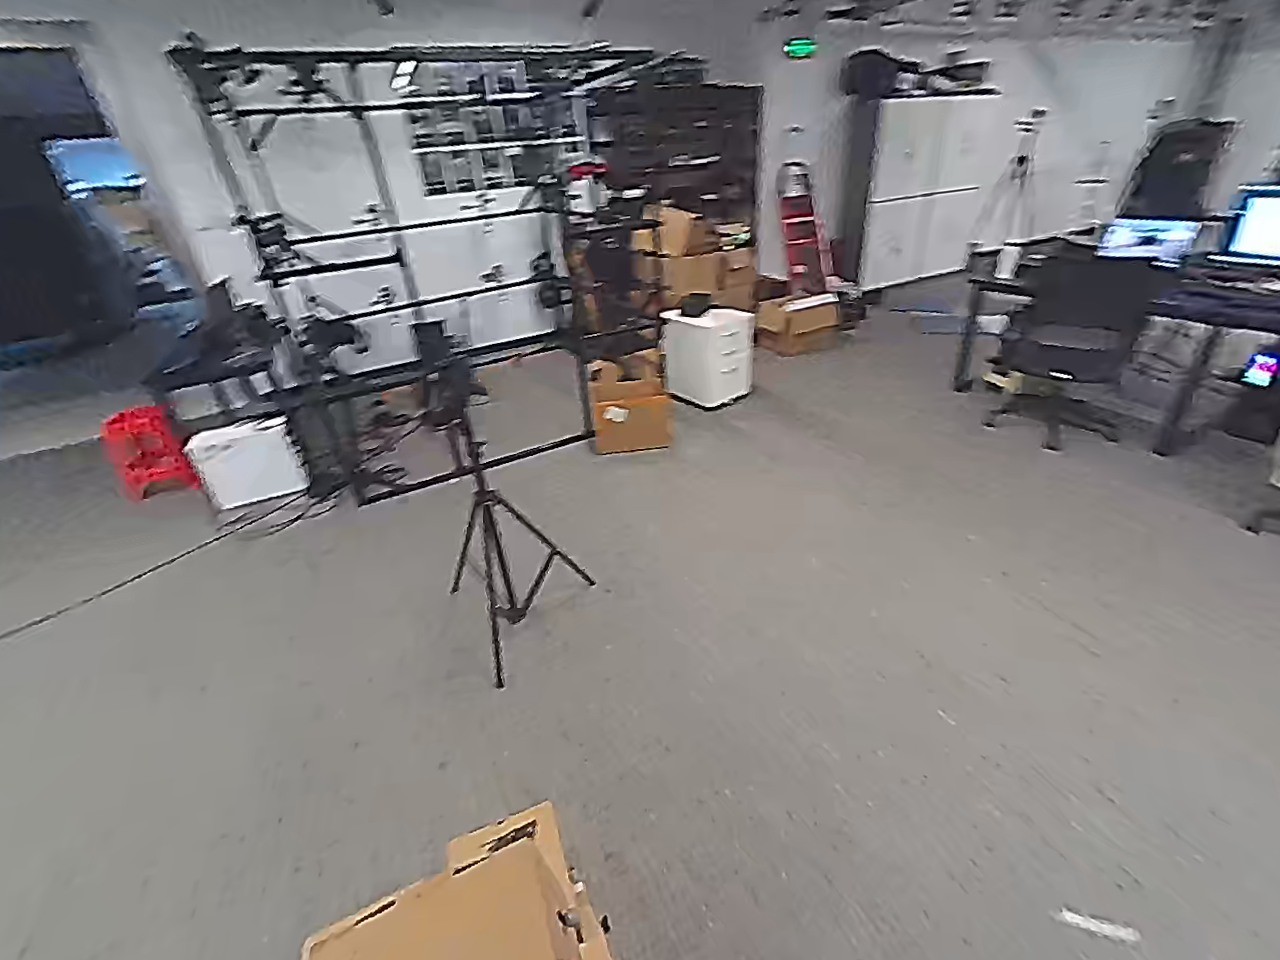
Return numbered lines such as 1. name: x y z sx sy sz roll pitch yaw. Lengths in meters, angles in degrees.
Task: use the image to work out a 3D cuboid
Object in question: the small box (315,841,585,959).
1. small box: -0.119 0.416 0.392 0.168 0.176 0.179 -19 40 -14
